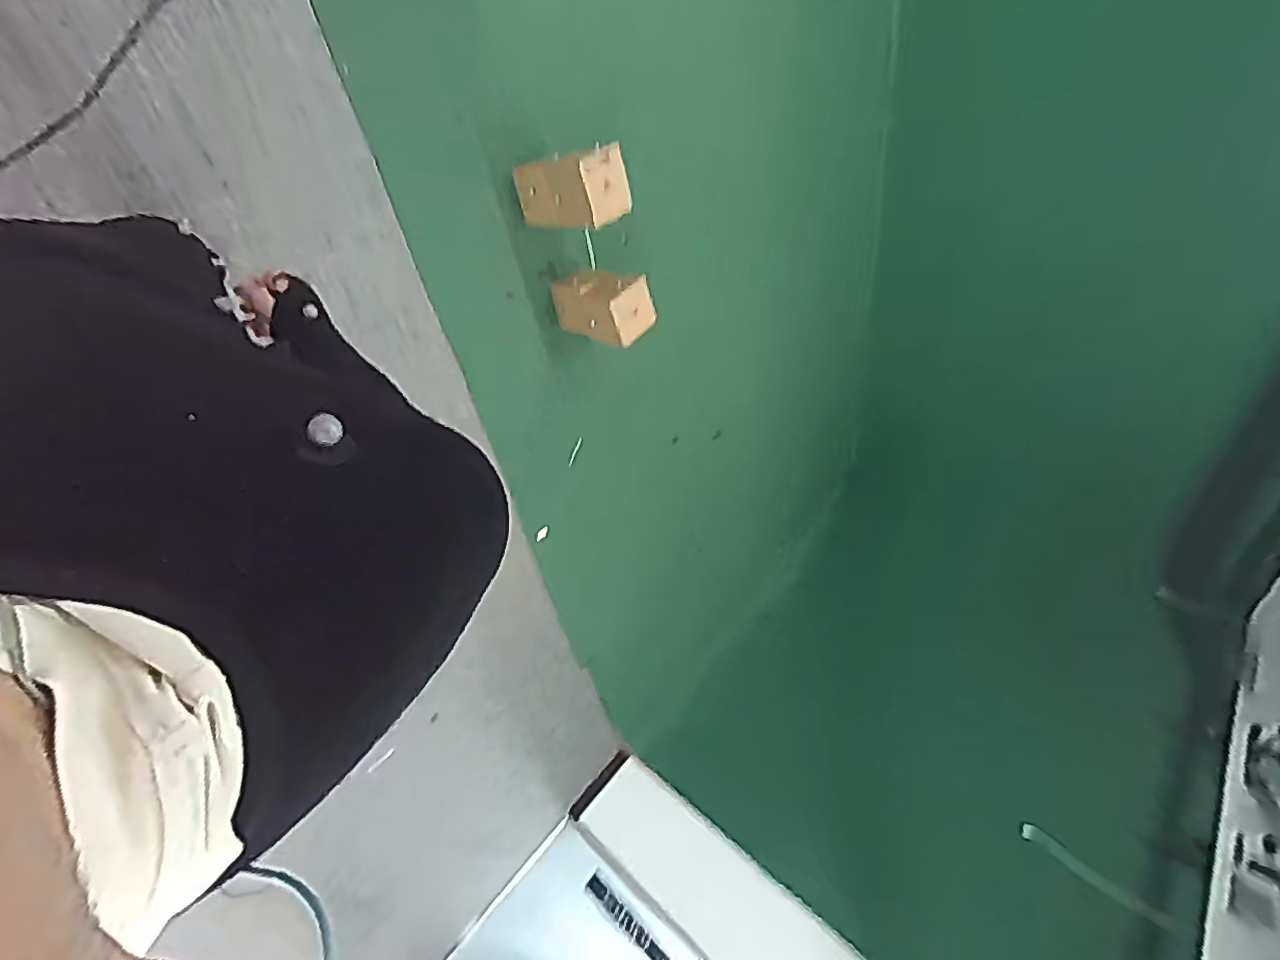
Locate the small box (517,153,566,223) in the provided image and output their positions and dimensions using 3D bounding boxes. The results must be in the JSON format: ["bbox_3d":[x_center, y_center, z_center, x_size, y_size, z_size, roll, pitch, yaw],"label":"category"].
[{"bbox_3d":[-0.266,-0.924,1.713,0.179,0.176,0.168,-40,134,-29],"label":"small box"}]

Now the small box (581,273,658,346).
[{"bbox_3d":[-0.069,-0.587,1.844,0.179,0.176,0.168,-45,136,-23],"label":"small box"}]

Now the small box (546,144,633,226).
[{"bbox_3d":[-0.149,-0.876,1.608,0.168,0.176,0.179,-42,136,-28],"label":"small box"}]
